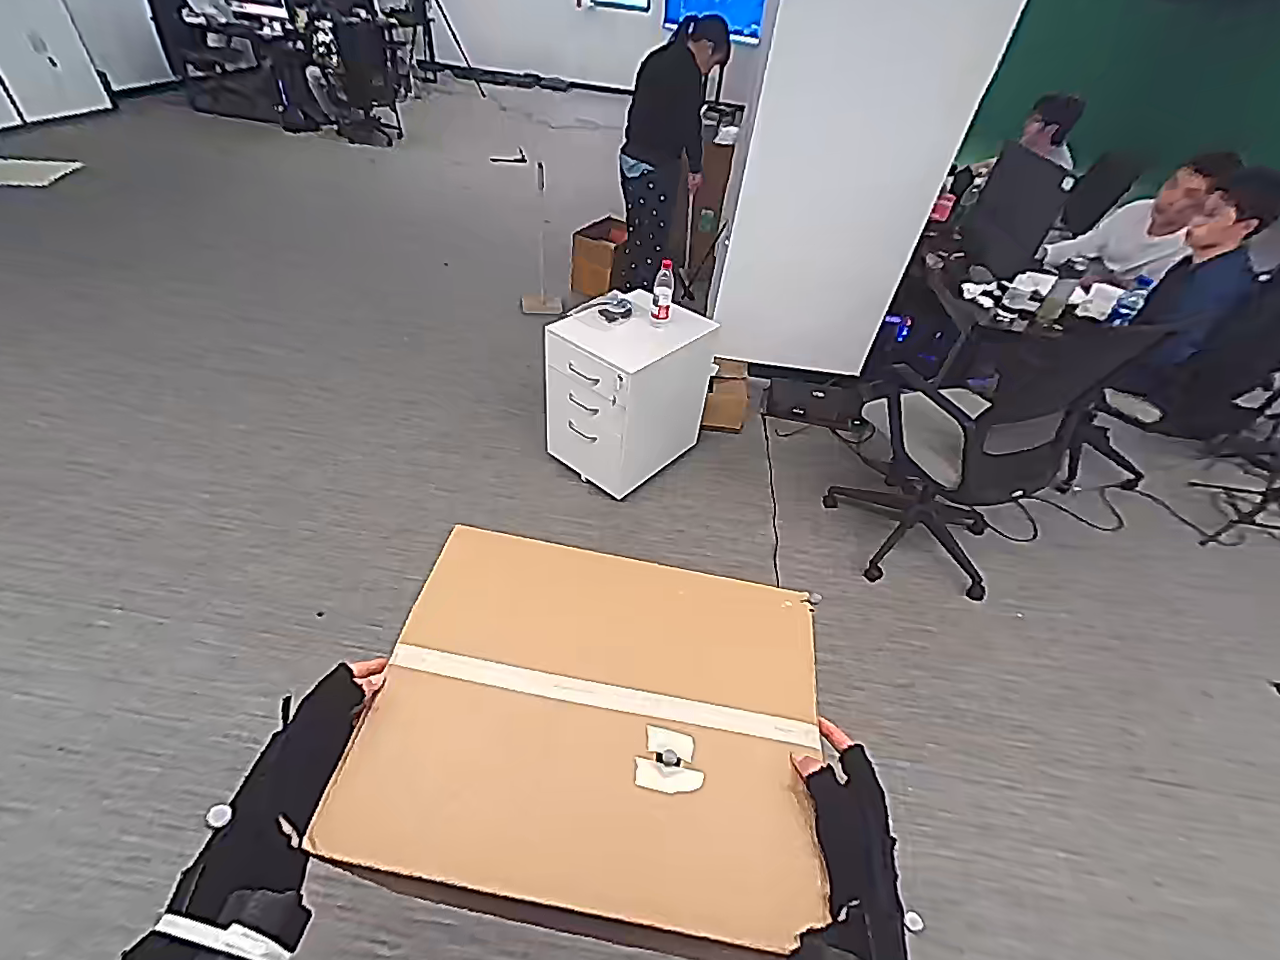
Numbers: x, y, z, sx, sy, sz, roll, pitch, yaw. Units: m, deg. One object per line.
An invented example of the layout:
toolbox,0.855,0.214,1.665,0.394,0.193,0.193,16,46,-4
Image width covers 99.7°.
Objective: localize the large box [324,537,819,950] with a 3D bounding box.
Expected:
large box,-0.053,0.309,0.629,0.408,0.320,0.320,11,49,1
